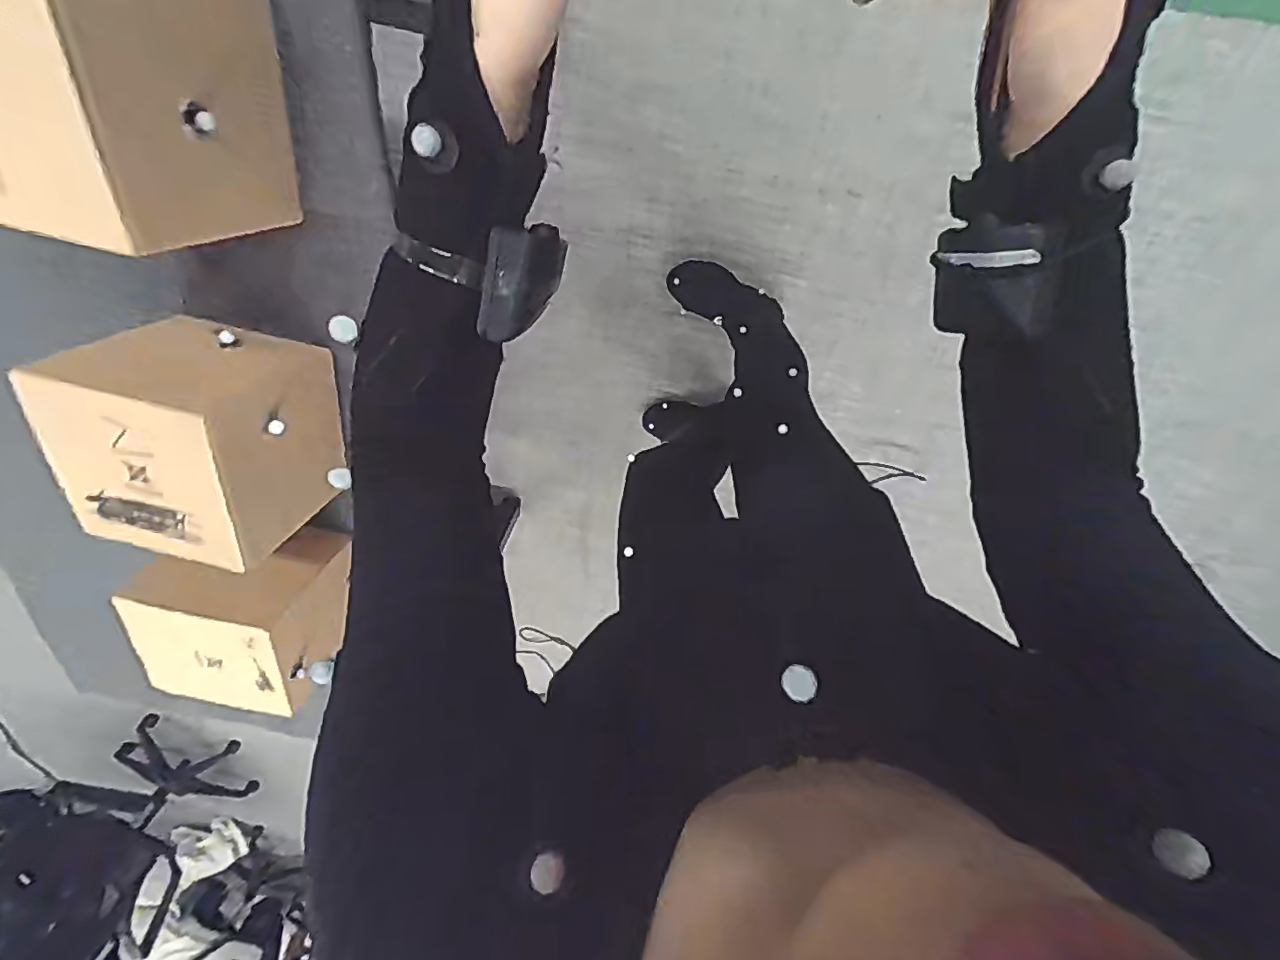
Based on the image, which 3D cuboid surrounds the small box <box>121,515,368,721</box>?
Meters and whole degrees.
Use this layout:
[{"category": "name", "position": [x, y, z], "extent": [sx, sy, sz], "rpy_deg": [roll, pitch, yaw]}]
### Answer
[{"category": "small box", "position": [-0.479, 0.167, 0.688], "extent": [0.179, 0.176, 0.168], "rpy_deg": [14, 124, 0]}]
